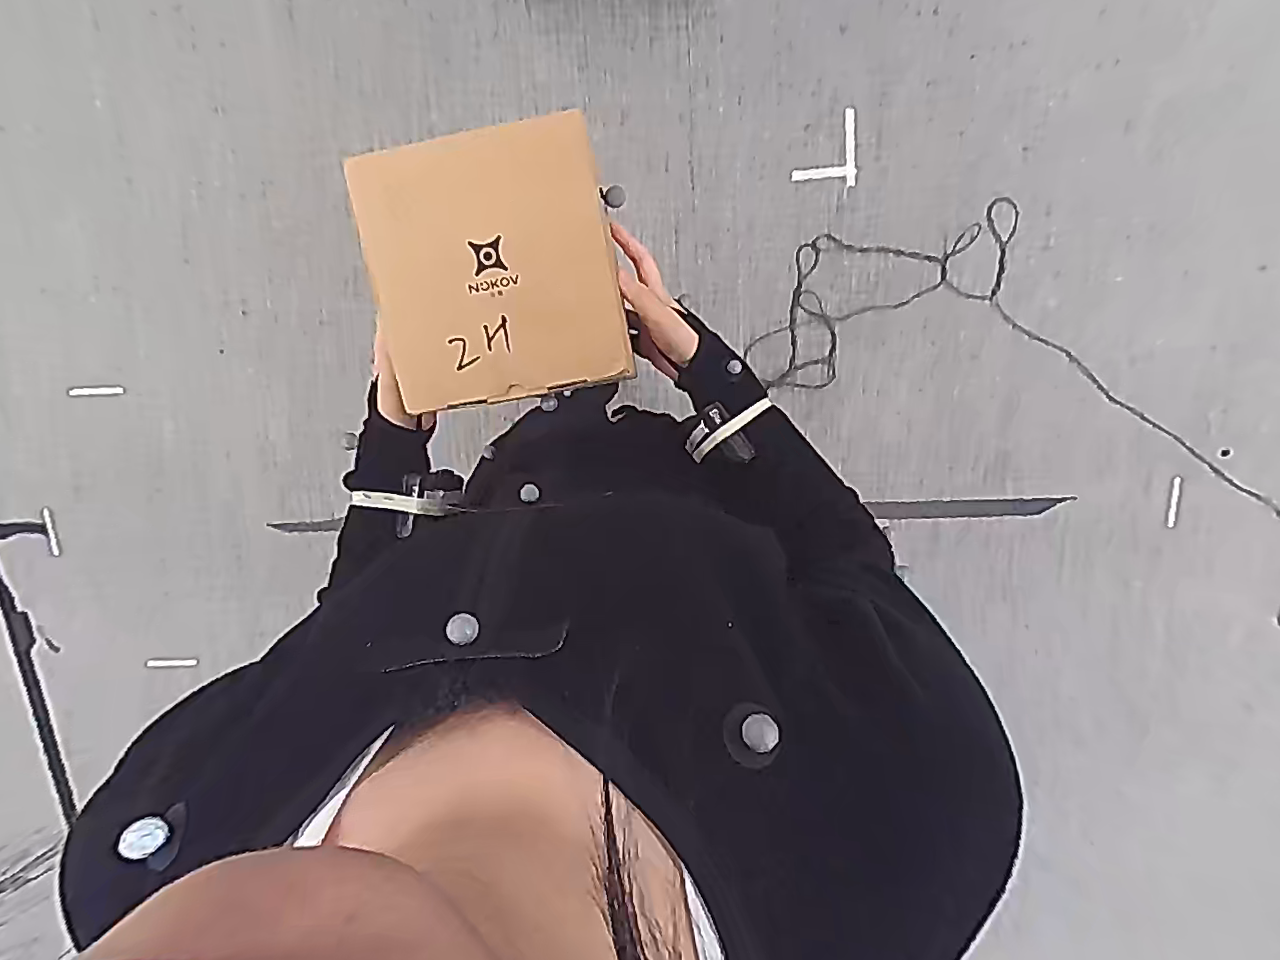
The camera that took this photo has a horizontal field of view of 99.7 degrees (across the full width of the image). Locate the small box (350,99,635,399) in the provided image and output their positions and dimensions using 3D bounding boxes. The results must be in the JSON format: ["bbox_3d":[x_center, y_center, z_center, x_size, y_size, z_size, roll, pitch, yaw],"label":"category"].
[{"bbox_3d":[-0.099,-0.167,0.448,0.168,0.176,0.179,-9,100,4],"label":"small box"}]
